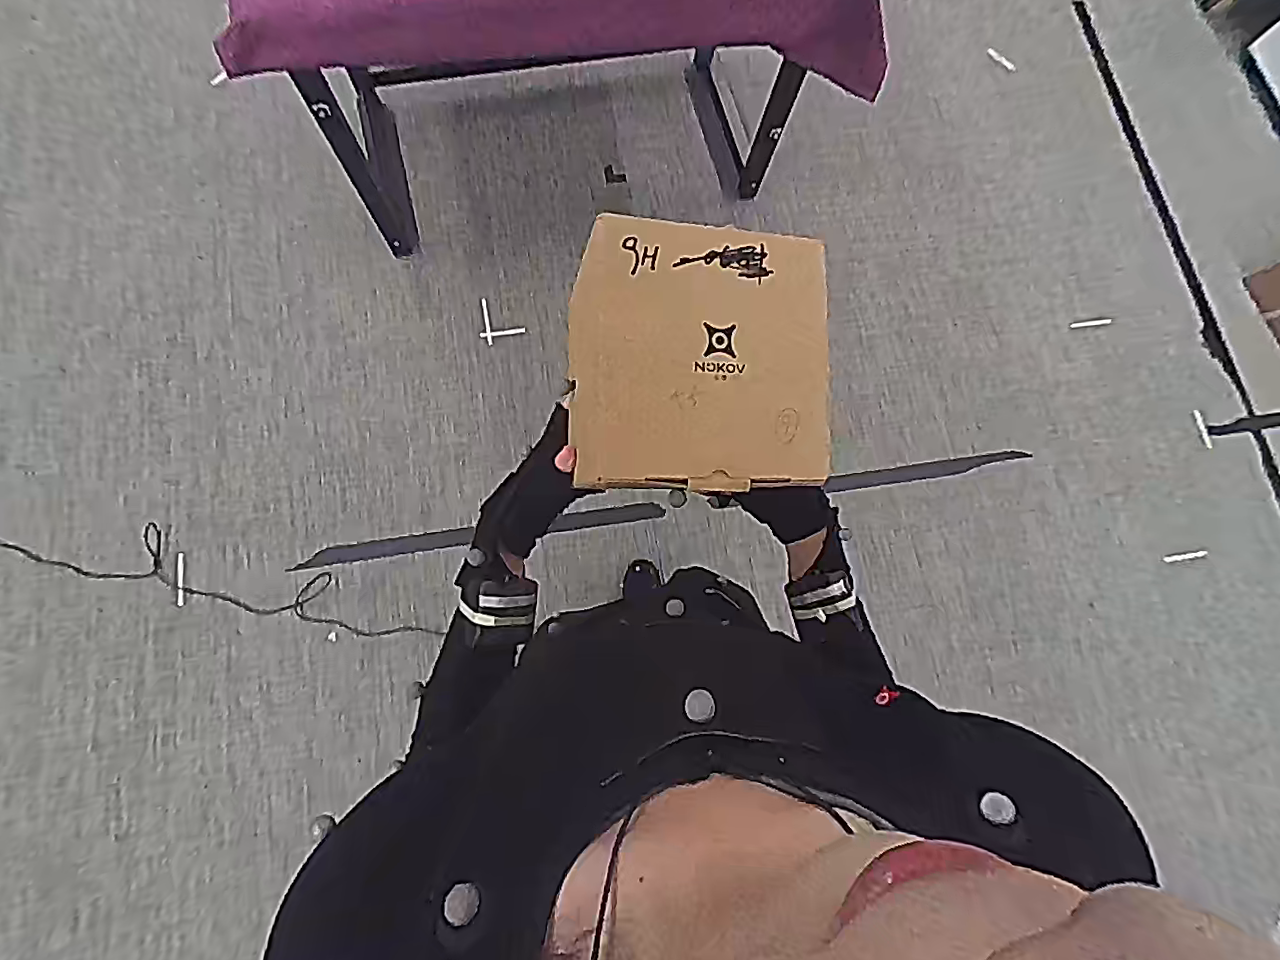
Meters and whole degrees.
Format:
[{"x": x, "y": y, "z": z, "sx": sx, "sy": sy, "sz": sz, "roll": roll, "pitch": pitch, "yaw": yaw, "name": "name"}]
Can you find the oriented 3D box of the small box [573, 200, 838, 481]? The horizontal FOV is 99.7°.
[{"x": 0.038, "y": -0.087, "z": 0.432, "sx": 0.168, "sy": 0.176, "sz": 0.179, "roll": 0, "pitch": 88, "yaw": -13, "name": "small box"}]
